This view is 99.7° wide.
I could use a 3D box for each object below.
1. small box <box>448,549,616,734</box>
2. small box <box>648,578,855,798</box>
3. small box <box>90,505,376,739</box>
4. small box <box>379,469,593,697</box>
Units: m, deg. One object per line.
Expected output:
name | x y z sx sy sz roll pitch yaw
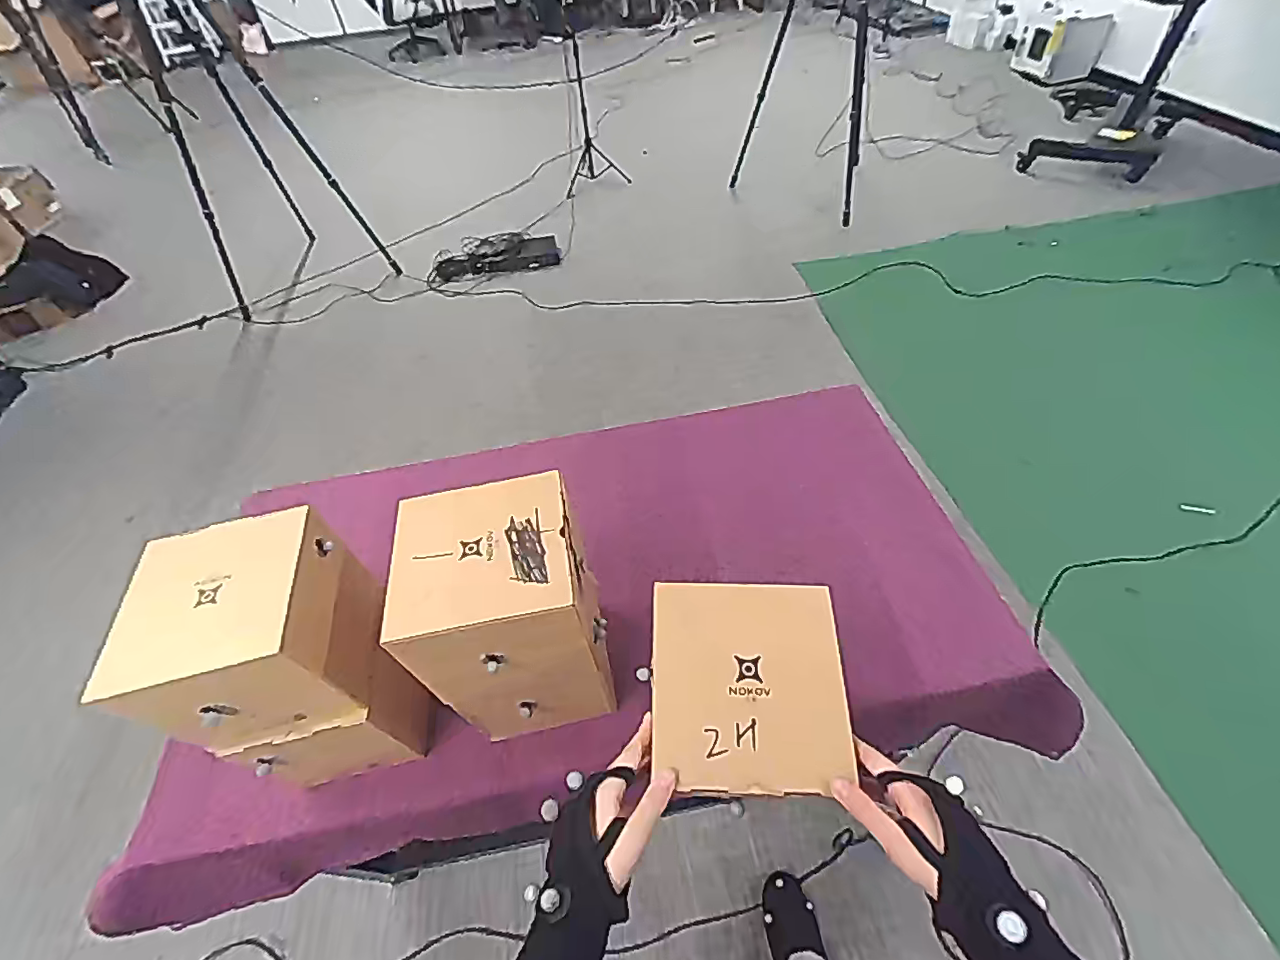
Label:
small box | -0.138 0.218 0.718 0.179 0.176 0.168 -11 50 -3
small box | 0.093 0.210 0.535 0.168 0.176 0.179 0 60 3
small box | -0.408 0.160 0.585 0.168 0.176 0.179 -14 49 -5
small box | -0.151 0.116 0.589 0.179 0.176 0.168 -12 50 -2
